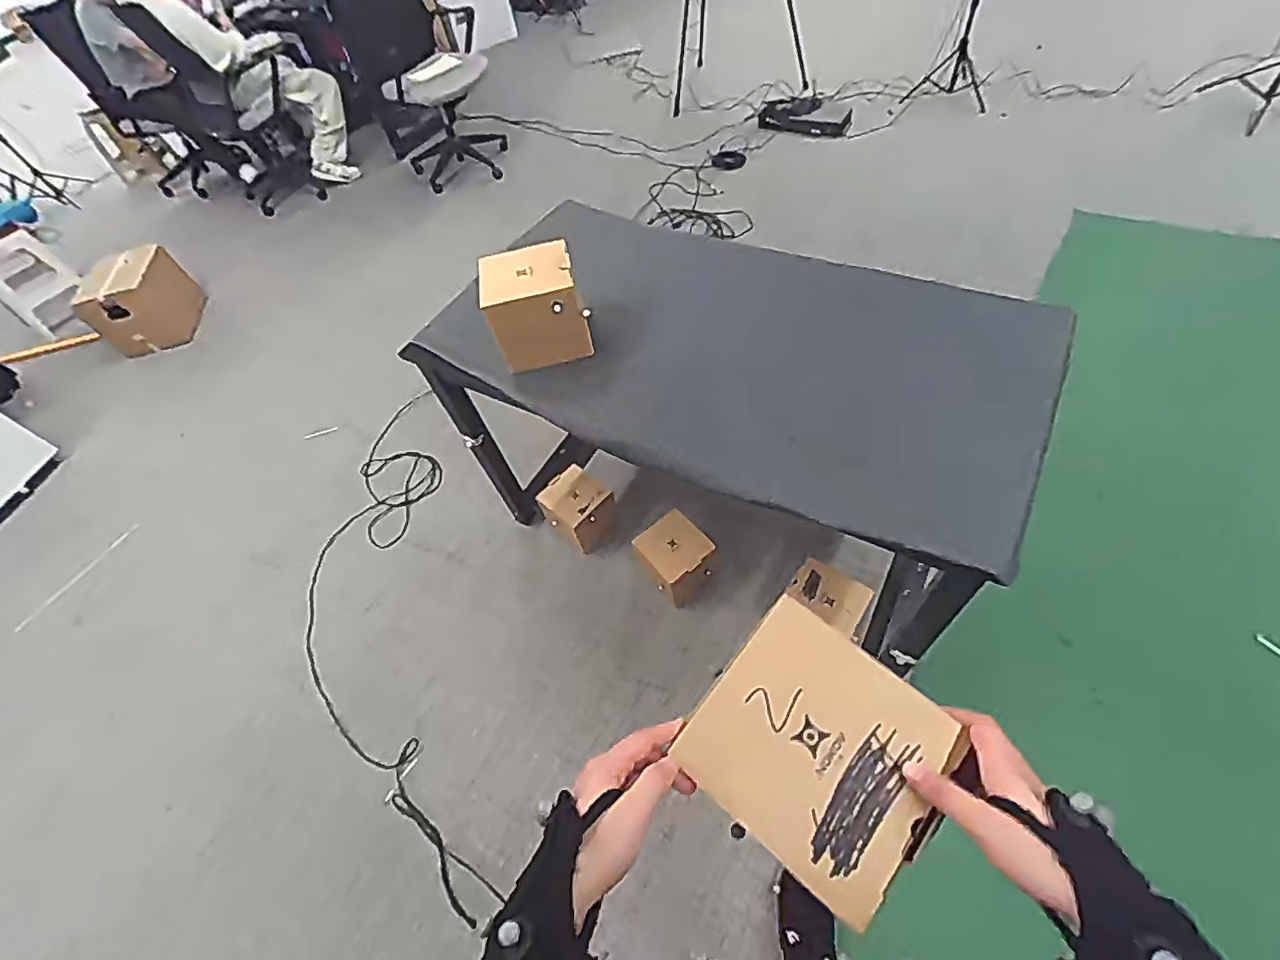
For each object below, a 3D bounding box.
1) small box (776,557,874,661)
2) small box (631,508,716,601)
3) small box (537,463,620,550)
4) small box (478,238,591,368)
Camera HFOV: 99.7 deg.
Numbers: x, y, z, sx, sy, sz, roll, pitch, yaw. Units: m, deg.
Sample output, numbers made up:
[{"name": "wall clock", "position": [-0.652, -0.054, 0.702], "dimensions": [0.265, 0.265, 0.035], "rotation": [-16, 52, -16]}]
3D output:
[{"name": "small box", "position": [0.462, 0.334, 1.375], "dimensions": [0.179, 0.176, 0.168], "rotation": [28, 64, 25]}, {"name": "small box", "position": [0.101, 0.219, 1.522], "dimensions": [0.168, 0.176, 0.179], "rotation": [-36, 55, -16]}, {"name": "small box", "position": [-0.185, 0.086, 1.668], "dimensions": [0.179, 0.176, 0.168], "rotation": [34, 67, 30]}, {"name": "small box", "position": [-0.208, -0.346, 1.078], "dimensions": [0.179, 0.176, 0.168], "rotation": [-13, 53, 0]}]
